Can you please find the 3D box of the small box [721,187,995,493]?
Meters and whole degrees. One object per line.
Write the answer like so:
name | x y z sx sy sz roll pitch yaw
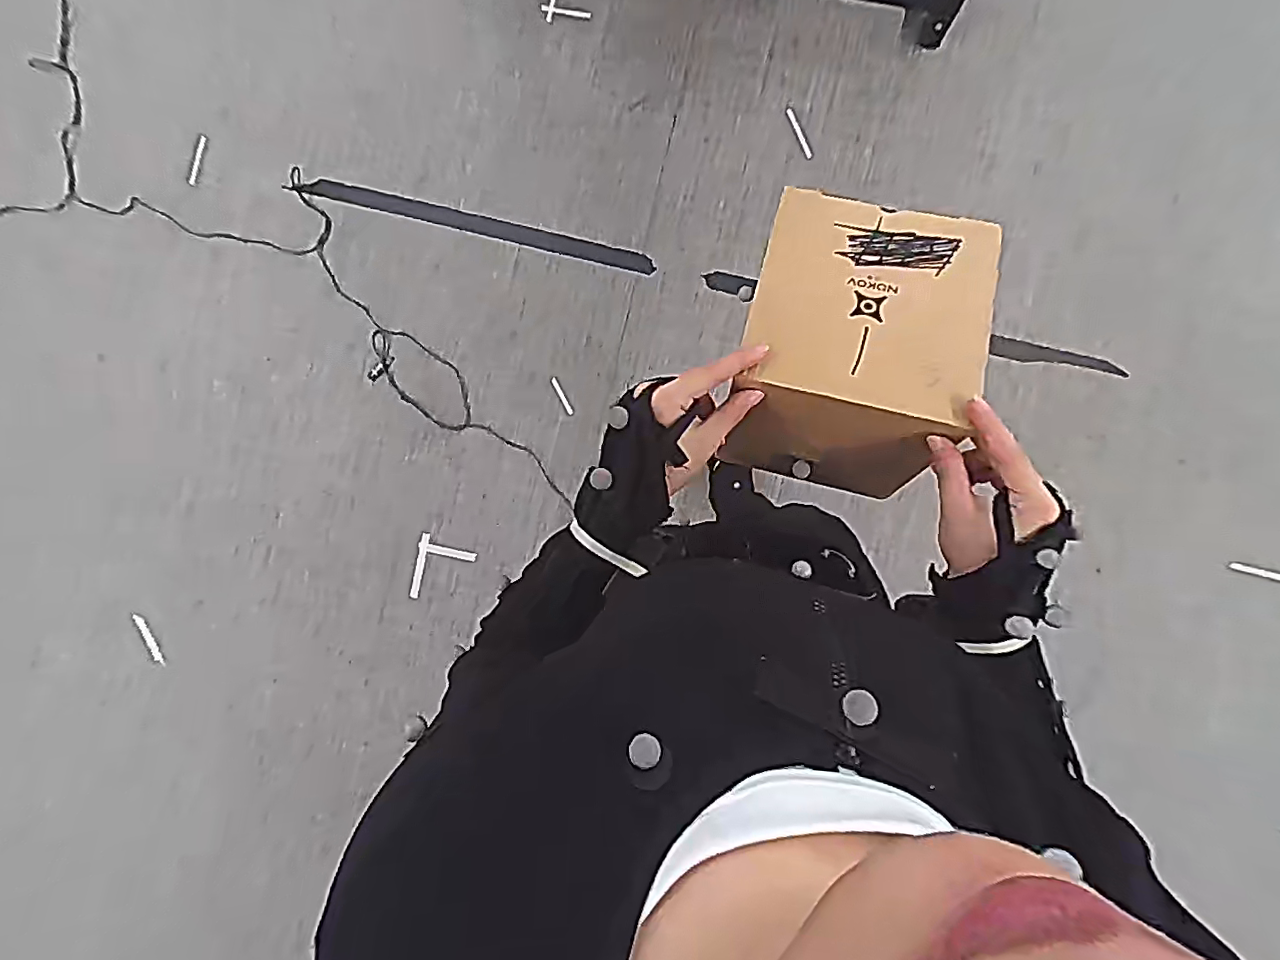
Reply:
small box | 0.172 -0.109 0.471 0.168 0.176 0.179 15 73 9
